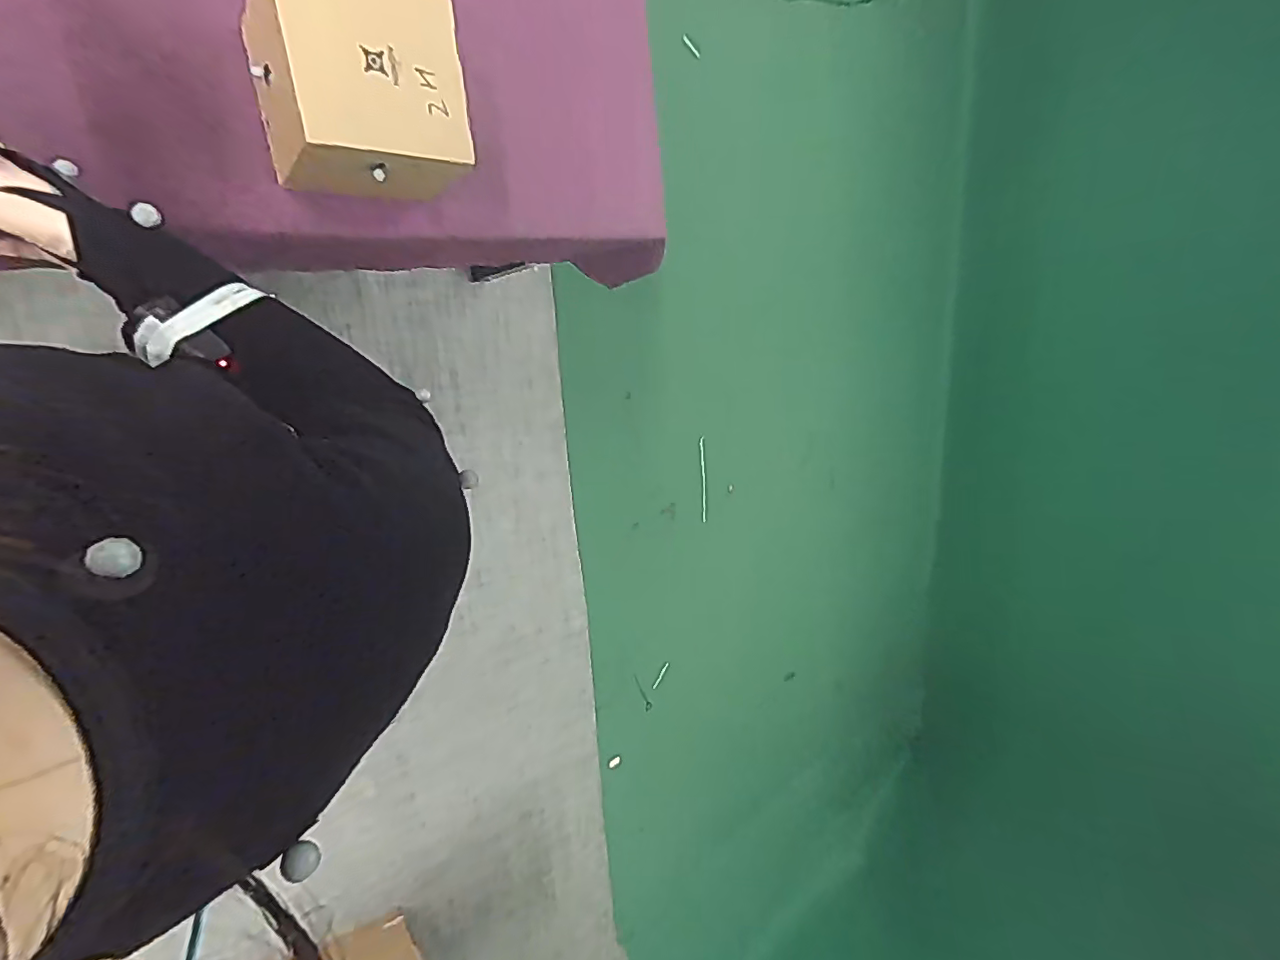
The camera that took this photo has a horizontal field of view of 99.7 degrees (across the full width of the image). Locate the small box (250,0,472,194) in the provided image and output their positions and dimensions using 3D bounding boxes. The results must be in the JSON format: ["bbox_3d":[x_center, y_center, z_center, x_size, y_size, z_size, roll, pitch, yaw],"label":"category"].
[{"bbox_3d":[-0.317,-0.436,0.609,0.179,0.176,0.168,-17,110,-38],"label":"small box"}]
